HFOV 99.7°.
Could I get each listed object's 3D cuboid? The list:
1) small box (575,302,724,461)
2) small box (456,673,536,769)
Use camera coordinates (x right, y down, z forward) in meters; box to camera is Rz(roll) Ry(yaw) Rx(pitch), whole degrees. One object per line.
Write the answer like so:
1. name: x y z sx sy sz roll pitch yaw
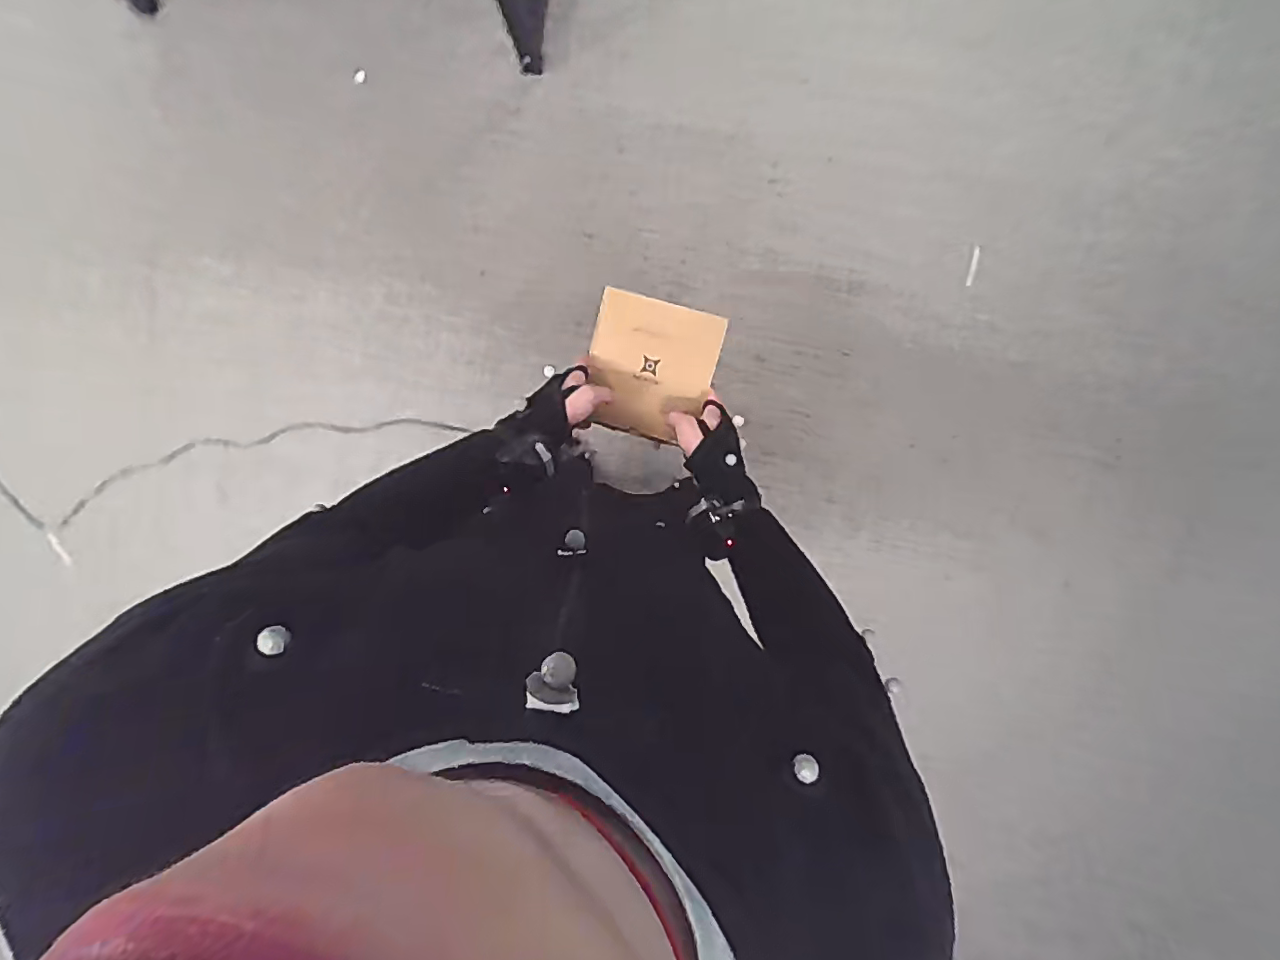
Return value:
1. small box: 0.014 -0.139 0.779 0.168 0.176 0.179 12 100 -1
2. small box: -0.408 0.688 1.557 0.168 0.176 0.179 12 95 1
